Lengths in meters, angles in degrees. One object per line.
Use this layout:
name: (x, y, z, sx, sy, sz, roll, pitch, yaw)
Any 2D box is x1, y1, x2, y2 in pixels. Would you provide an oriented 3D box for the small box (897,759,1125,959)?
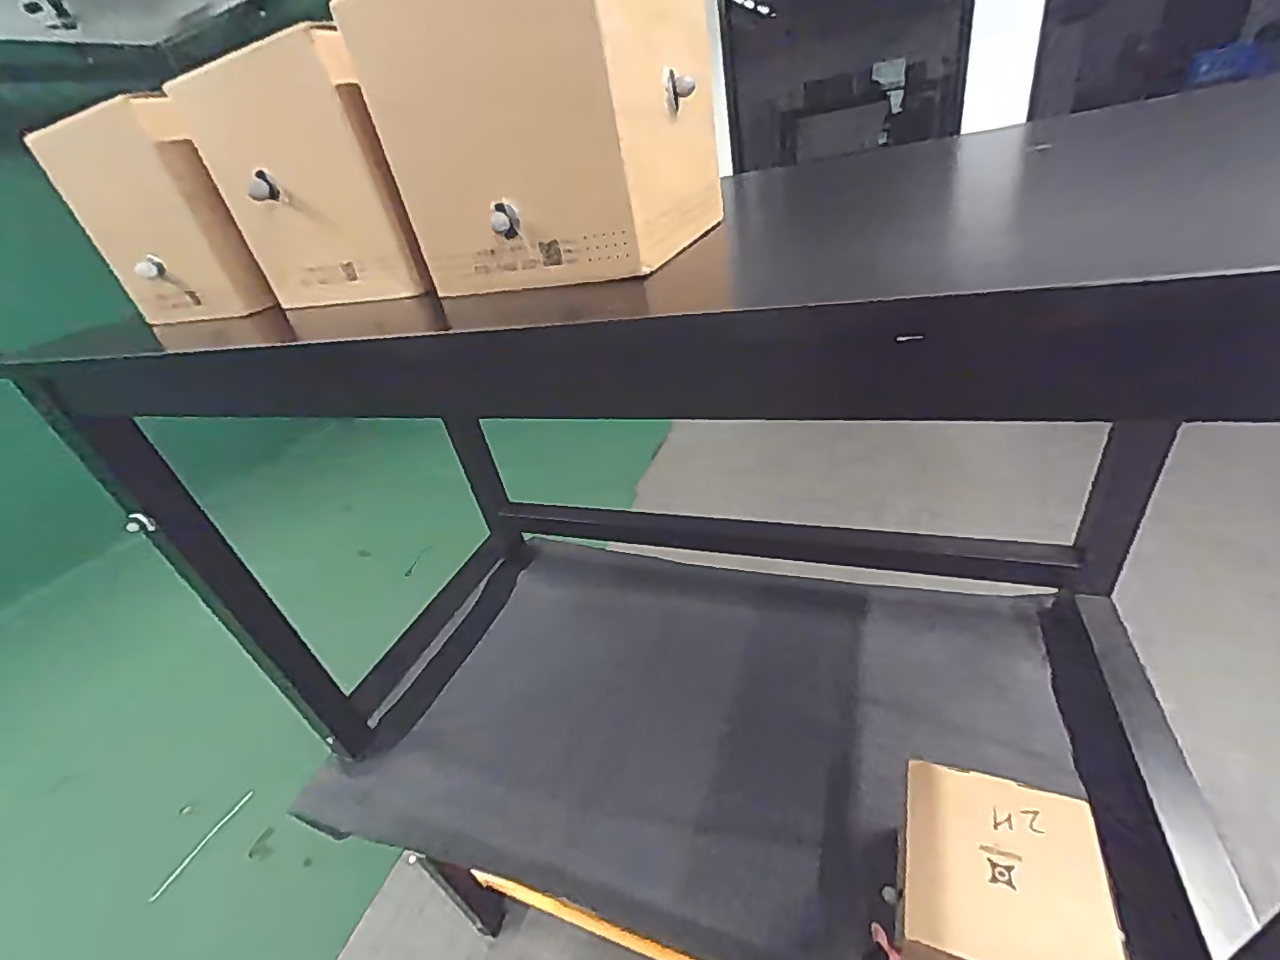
small box: (0.363, 0.435, 0.557, 0.168, 0.176, 0.179, 4, 36, 25)

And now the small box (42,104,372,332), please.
small box: (-0.405, -0.259, 0.544, 0.168, 0.176, 0.179, 4, 36, 25)
